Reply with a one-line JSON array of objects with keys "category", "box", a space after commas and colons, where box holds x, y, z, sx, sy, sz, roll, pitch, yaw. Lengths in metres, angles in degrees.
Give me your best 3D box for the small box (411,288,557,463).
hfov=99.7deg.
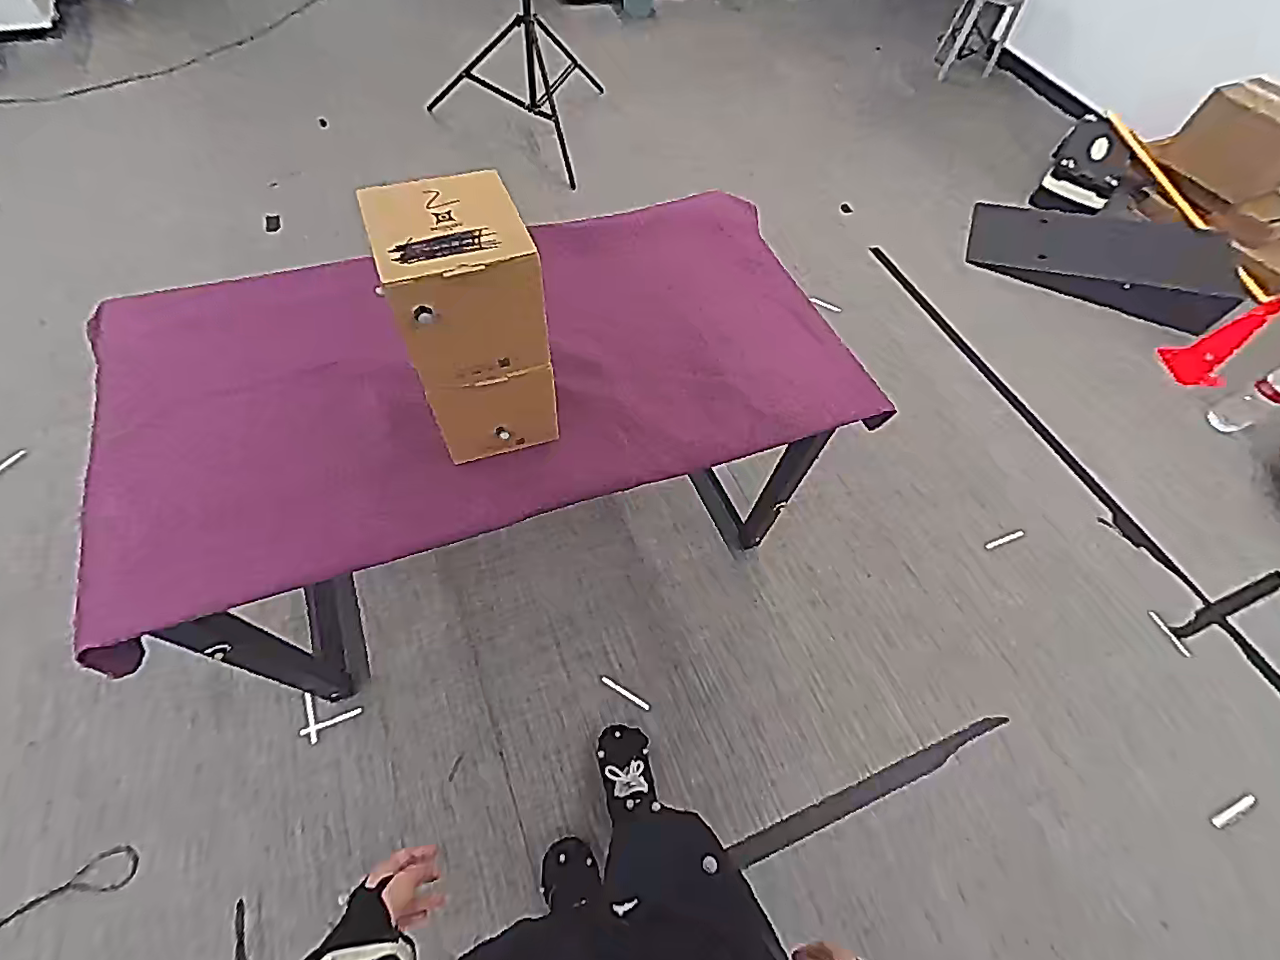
[{"category": "small box", "box": [-0.229, -0.154, 0.814, 0.168, 0.176, 0.179, -16, 62, -14]}]
